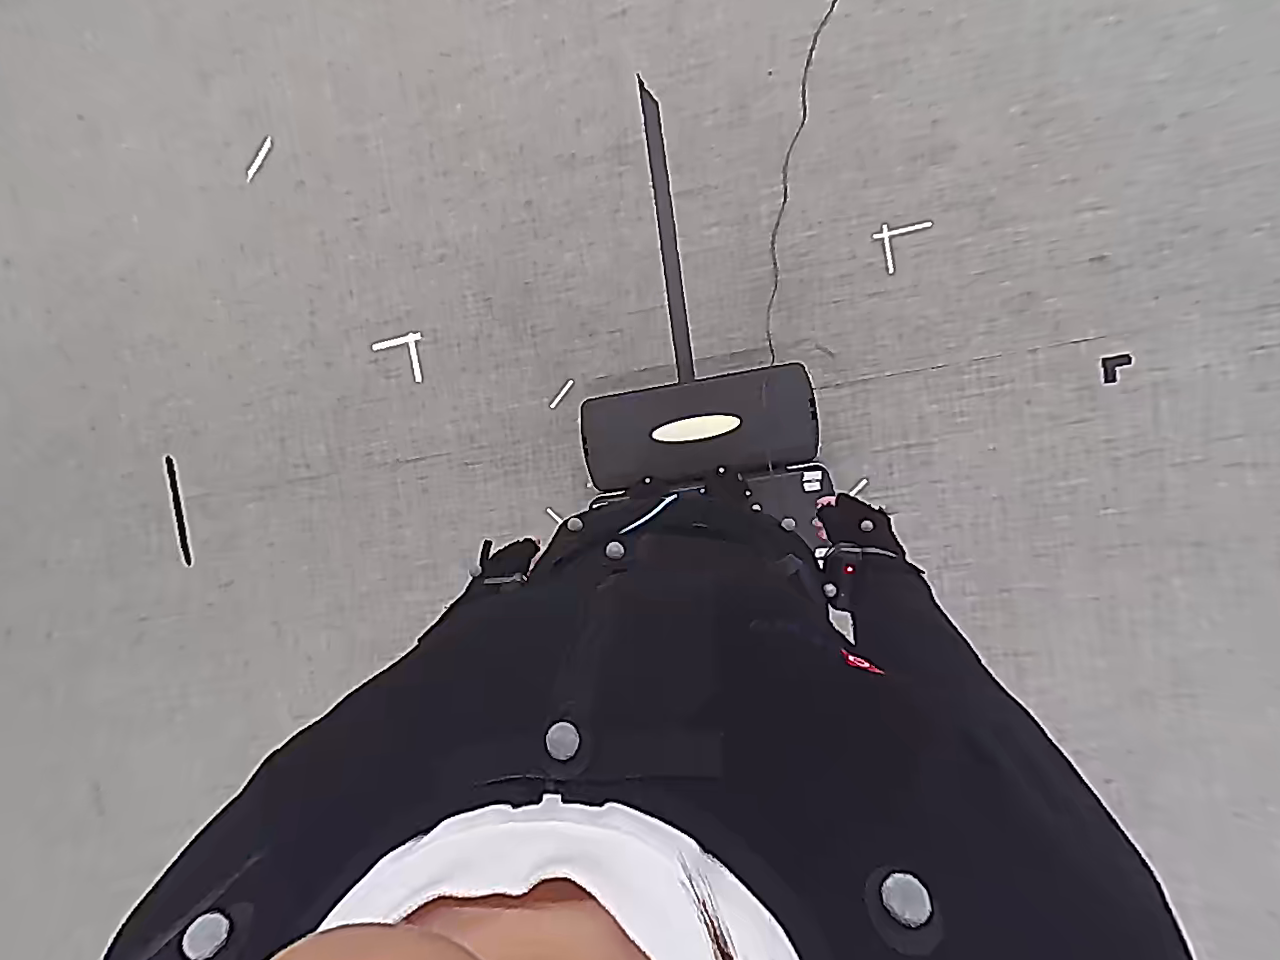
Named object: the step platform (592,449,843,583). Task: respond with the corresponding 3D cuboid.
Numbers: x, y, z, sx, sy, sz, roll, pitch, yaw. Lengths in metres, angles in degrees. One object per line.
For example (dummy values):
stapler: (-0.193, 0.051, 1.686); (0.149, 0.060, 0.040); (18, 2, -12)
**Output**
step platform: (0.209, 0.103, 1.524); (0.684, 0.204, 0.286); (-10, 90, 10)
